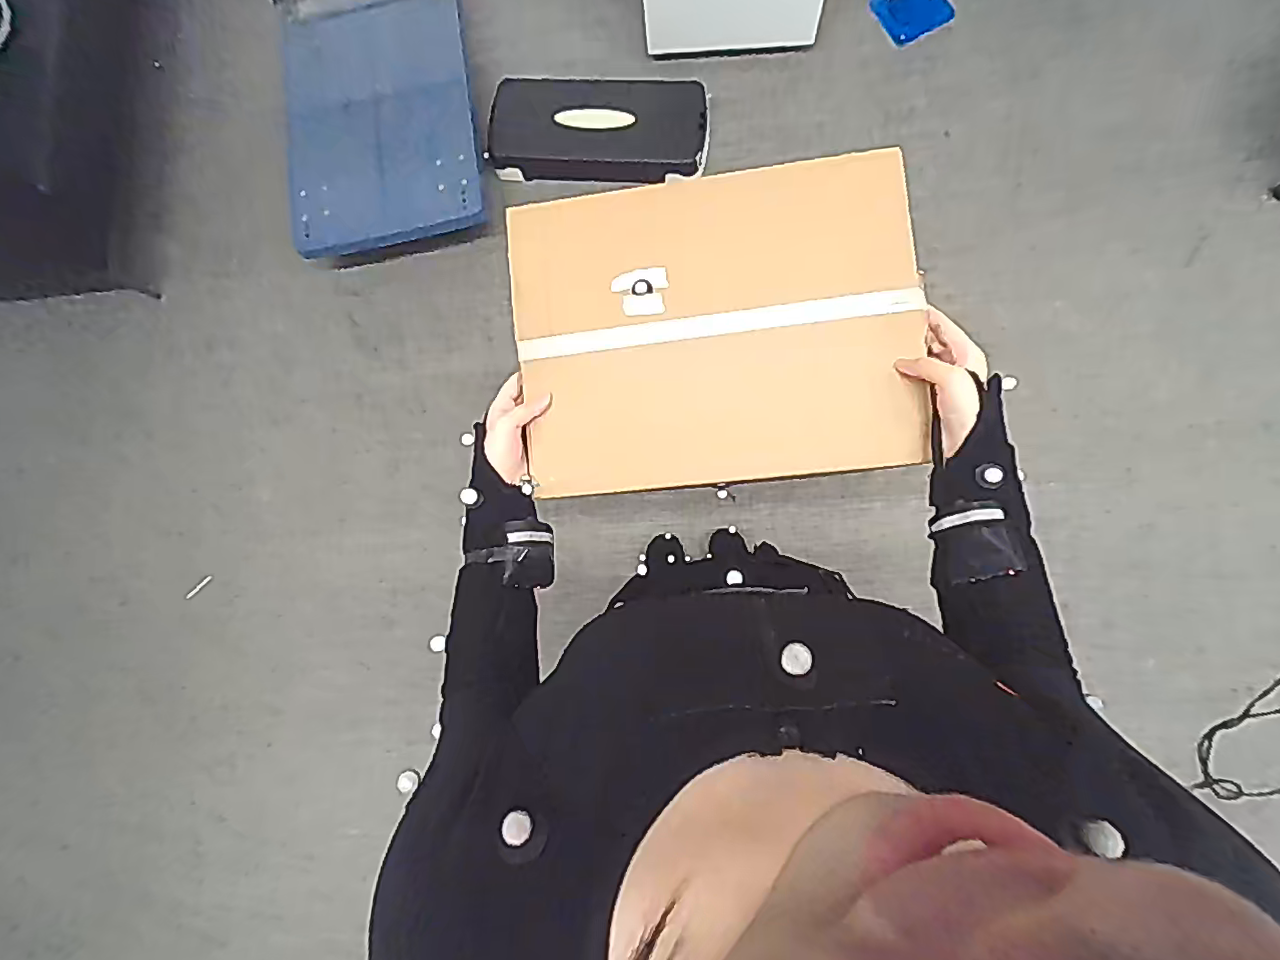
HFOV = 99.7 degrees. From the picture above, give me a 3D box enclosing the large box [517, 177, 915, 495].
[{"bbox_3d":[0.088,-0.180,0.713,0.408,0.320,0.320,6,103,10],"label":"large box"}]
